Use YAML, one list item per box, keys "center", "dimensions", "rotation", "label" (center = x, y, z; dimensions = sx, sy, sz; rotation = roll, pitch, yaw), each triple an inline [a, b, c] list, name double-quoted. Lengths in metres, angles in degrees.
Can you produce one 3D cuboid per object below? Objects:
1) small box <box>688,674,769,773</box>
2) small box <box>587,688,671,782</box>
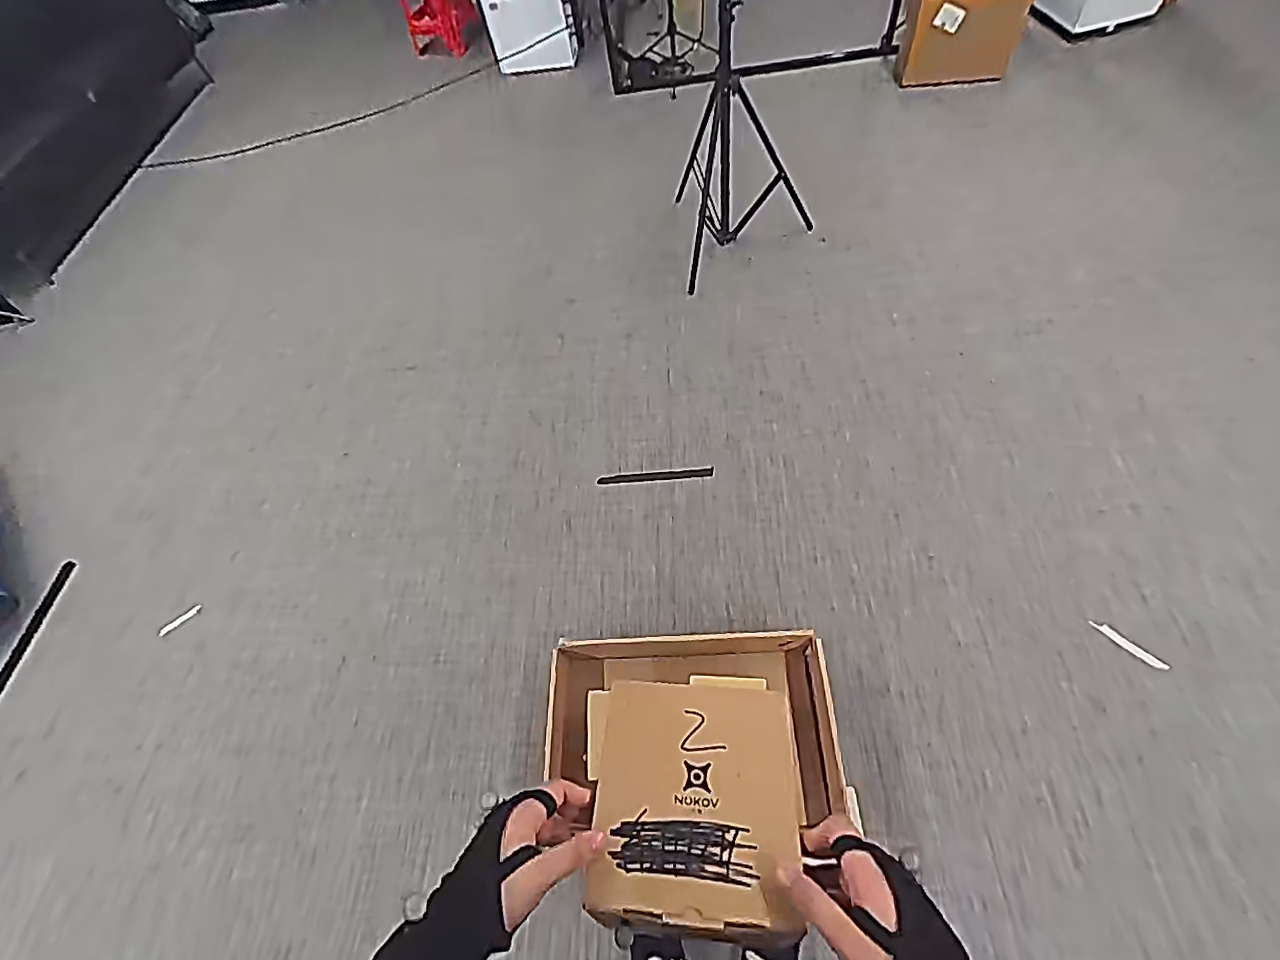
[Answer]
- center: [0.195, 0.540, 1.196]
  dimensions: [0.168, 0.176, 0.179]
  rotation: [0, 60, 9]
  label: "small box"
- center: [-0.020, 0.572, 1.207]
  dimensions: [0.168, 0.176, 0.179]
  rotation: [-5, 59, 4]
  label: "small box"
